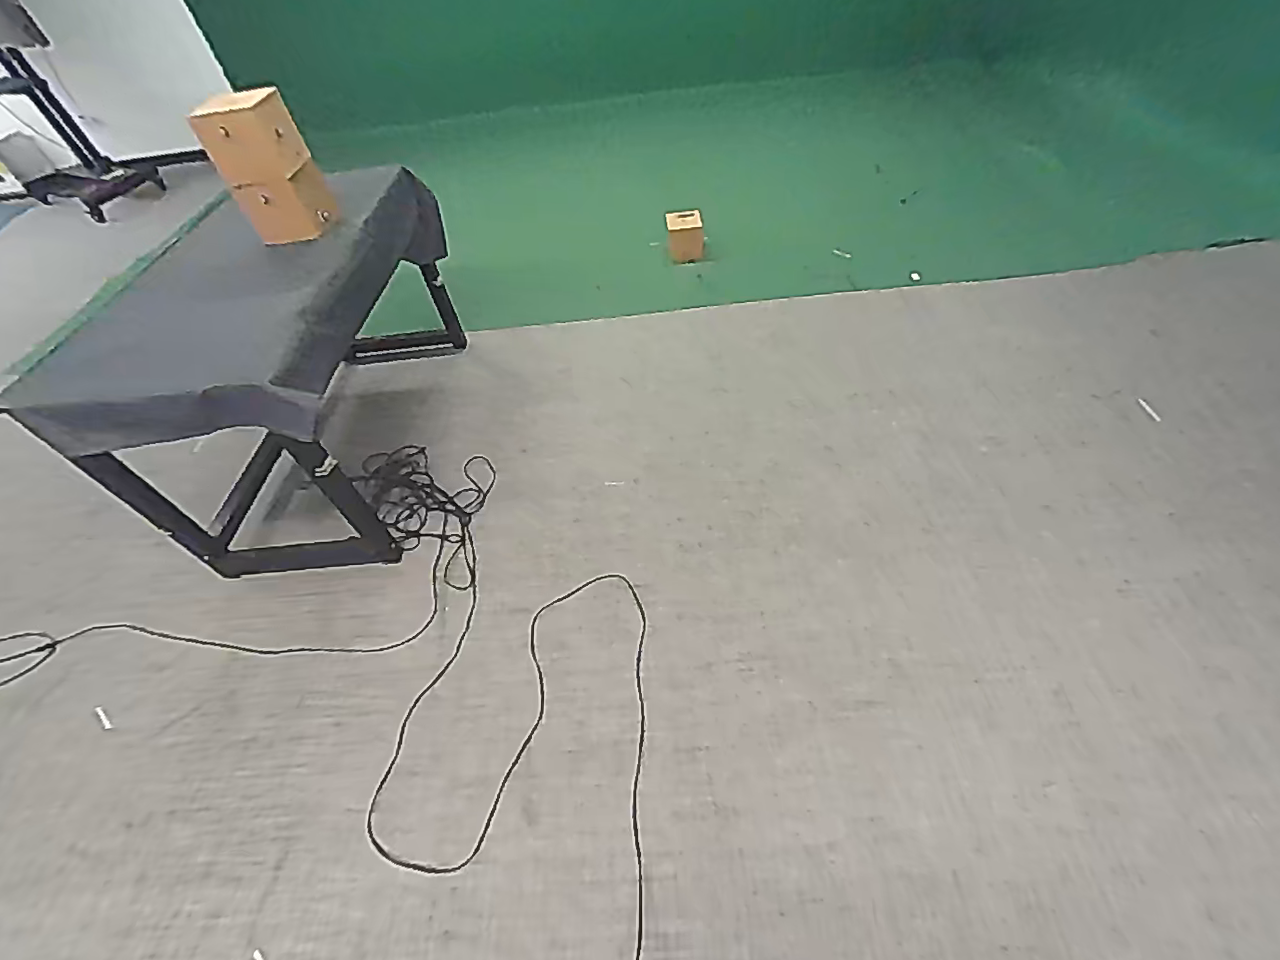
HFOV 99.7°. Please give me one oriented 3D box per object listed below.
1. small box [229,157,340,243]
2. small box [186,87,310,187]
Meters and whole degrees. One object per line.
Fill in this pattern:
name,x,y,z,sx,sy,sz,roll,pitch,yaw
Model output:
small box,-1.011,-0.801,1.555,0.179,0.176,0.168,-4,50,4
small box,-1.020,-0.903,1.428,0.179,0.176,0.168,-6,50,4
